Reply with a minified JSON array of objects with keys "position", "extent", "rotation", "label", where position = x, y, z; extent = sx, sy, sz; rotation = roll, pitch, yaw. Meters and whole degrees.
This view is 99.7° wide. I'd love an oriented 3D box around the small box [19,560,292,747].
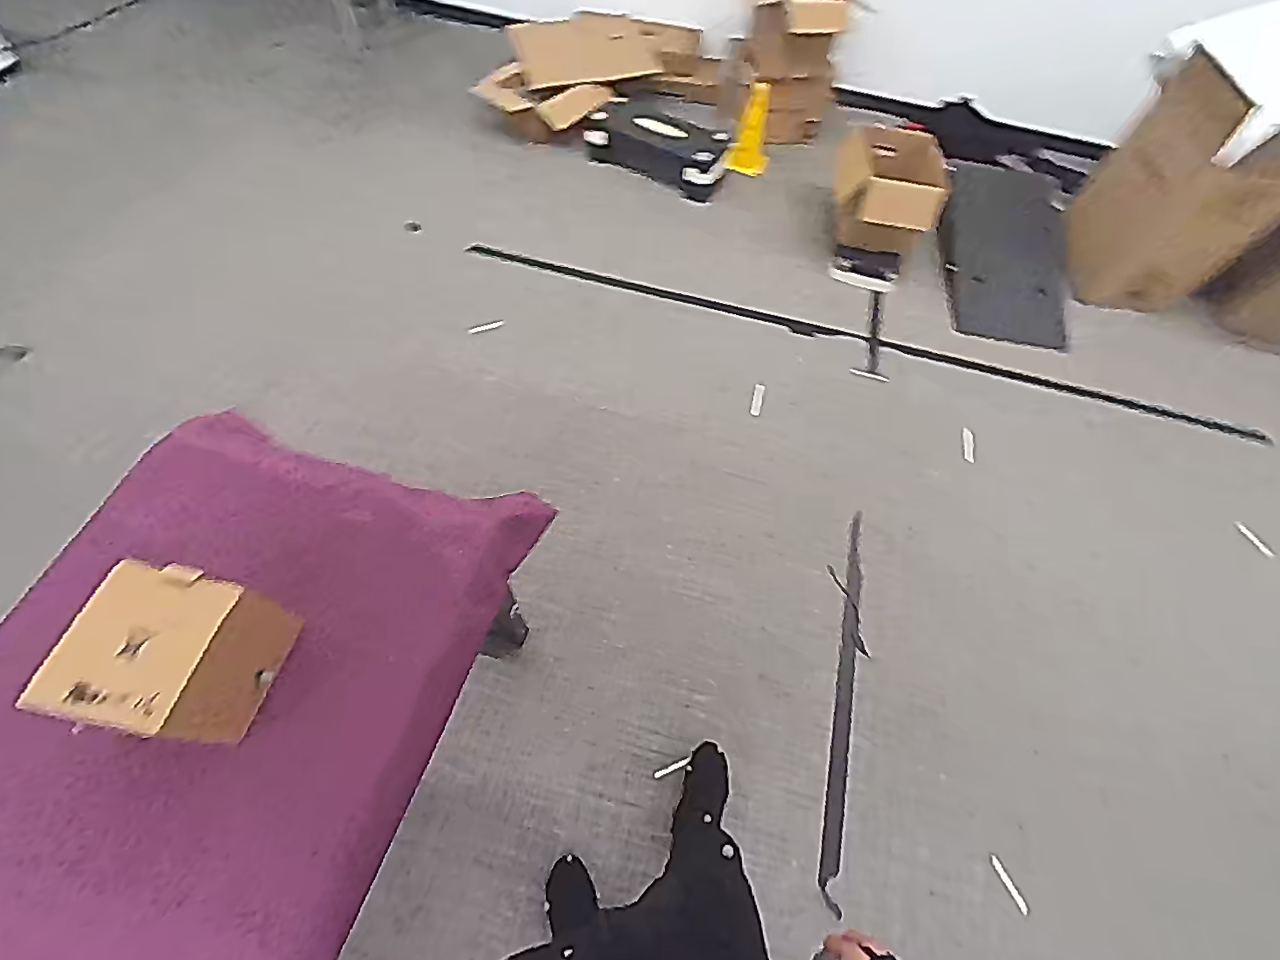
[{"position":[-0.596,0.230,0.703],"extent":[0.168,0.176,0.179],"rotation":[12,59,3],"label":"small box"}]
